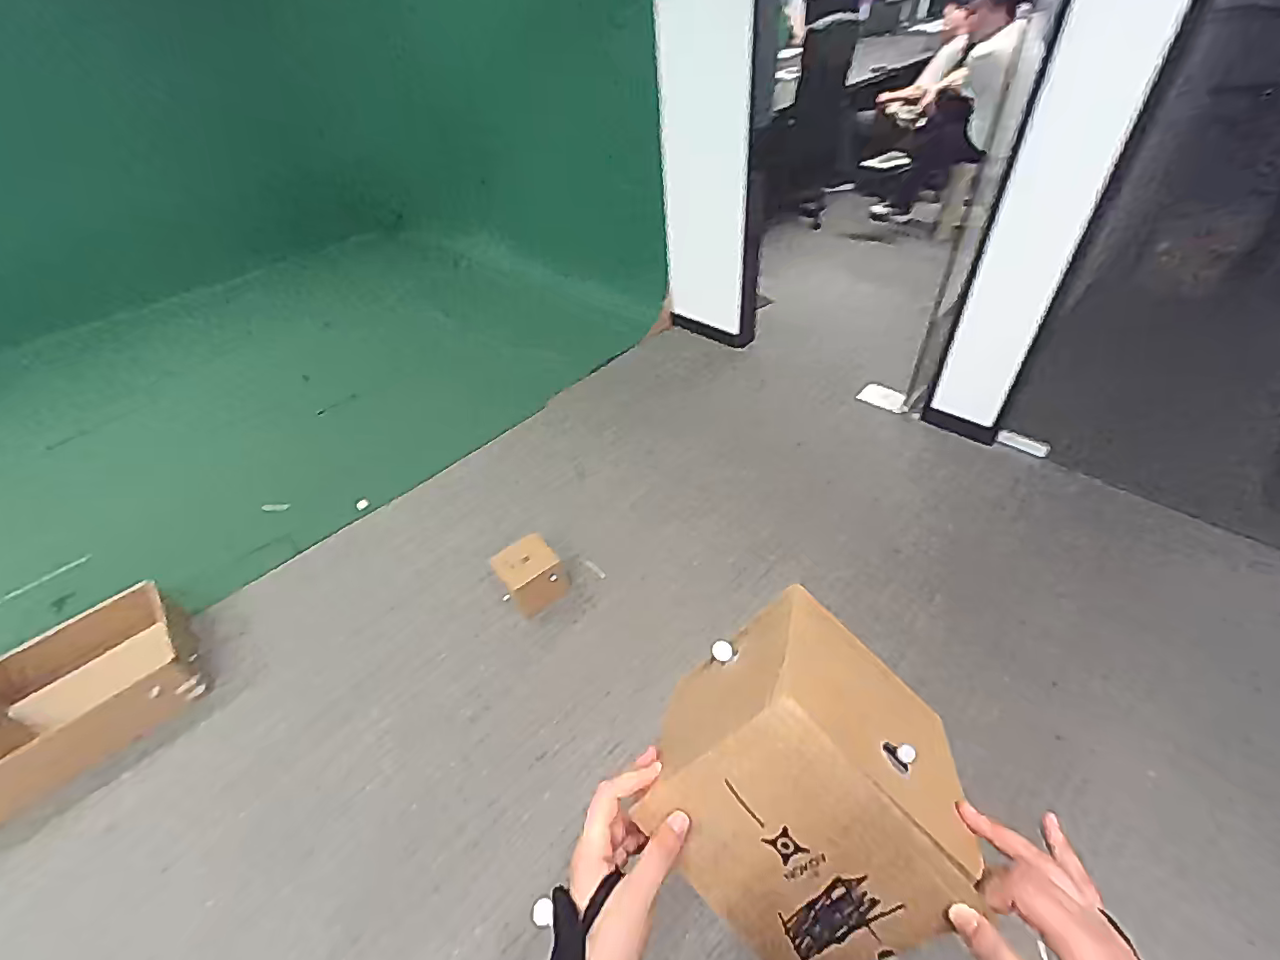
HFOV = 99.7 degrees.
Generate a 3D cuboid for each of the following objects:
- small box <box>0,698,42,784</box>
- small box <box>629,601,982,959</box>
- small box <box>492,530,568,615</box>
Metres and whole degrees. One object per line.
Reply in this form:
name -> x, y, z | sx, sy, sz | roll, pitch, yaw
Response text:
small box -> -1.758, 0.704, 1.431 | 0.179, 0.176, 0.168 | 33, 56, 31
small box -> 0.126, 0.233, 0.442 | 0.179, 0.168, 0.176 | 45, 21, 4
small box -> -0.349, 0.301, 1.759 | 0.179, 0.176, 0.168 | -32, 49, -24
